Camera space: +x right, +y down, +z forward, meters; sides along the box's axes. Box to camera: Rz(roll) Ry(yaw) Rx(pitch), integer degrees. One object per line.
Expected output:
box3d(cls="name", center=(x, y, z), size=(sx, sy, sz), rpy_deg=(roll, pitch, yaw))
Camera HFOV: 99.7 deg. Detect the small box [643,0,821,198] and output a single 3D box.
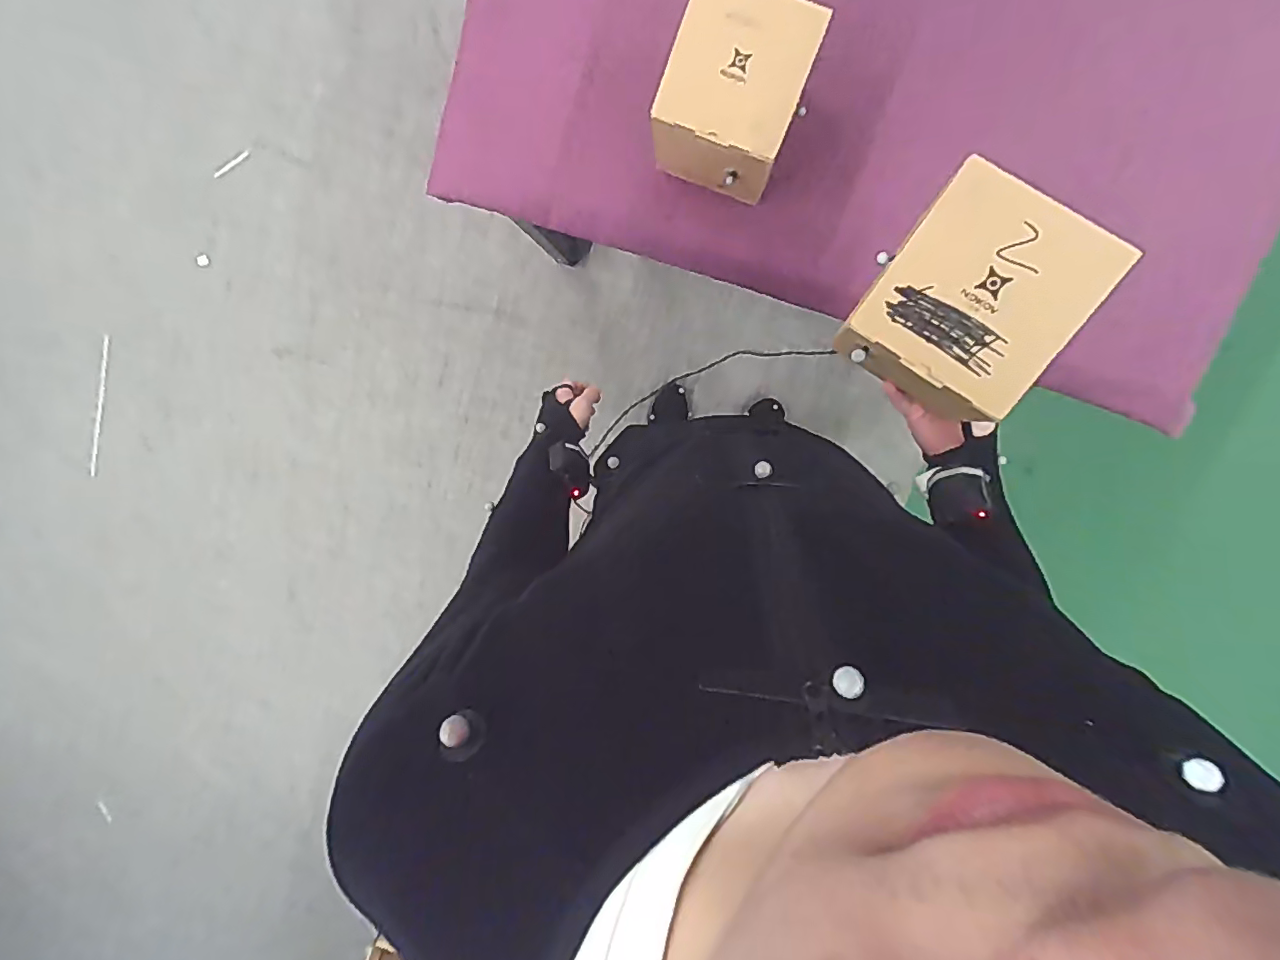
box3d(cls="small box", center=(0.116, -0.515, 0.729), size=(0.168, 0.176, 0.179), rpy_deg=(21, 100, 0))
